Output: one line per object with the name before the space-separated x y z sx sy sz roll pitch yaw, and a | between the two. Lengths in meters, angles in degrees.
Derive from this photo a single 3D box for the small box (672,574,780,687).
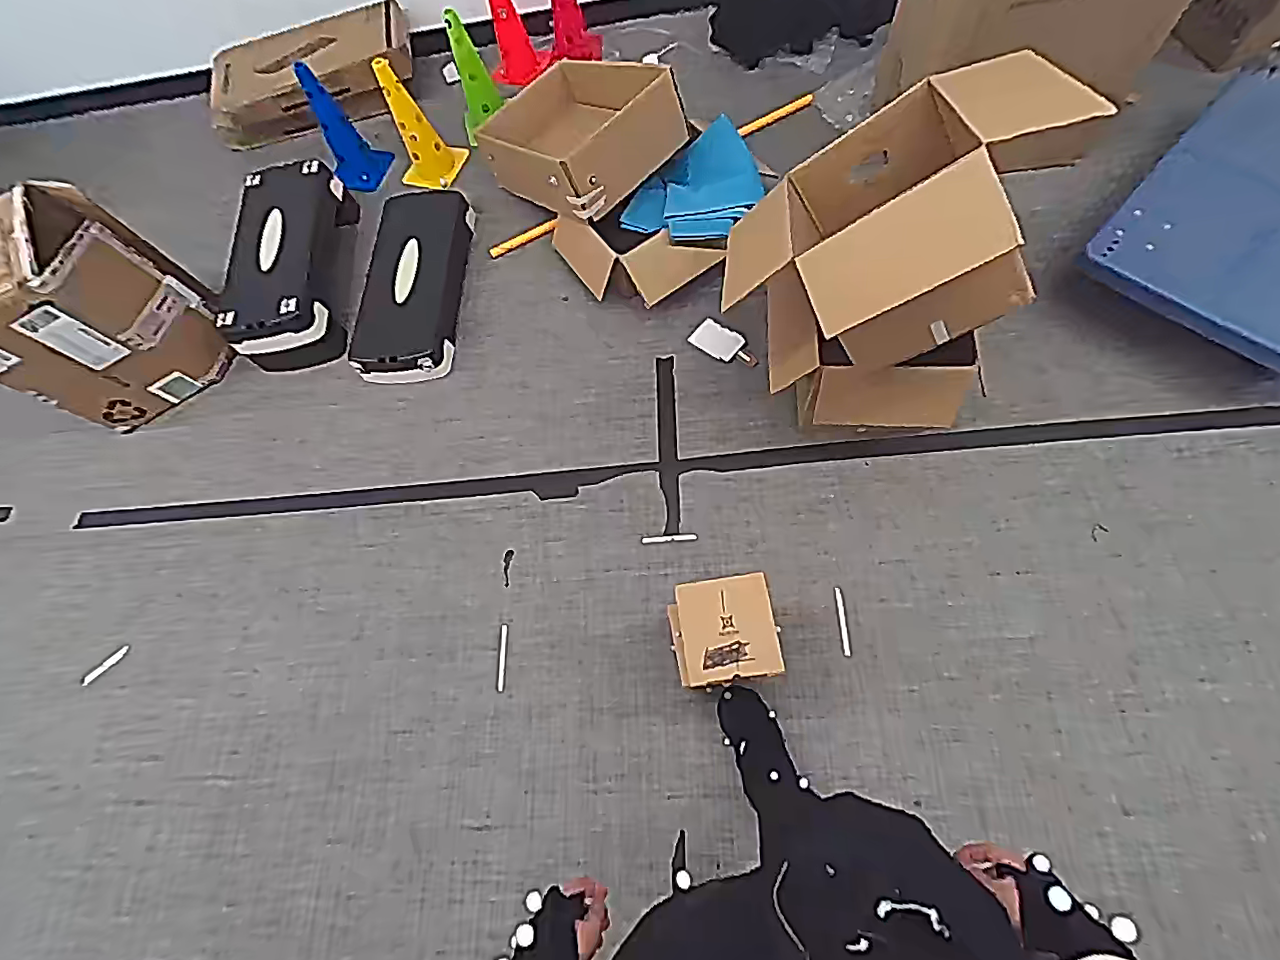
small box | 0.158 0.289 1.021 0.168 0.176 0.179 -9 68 4
